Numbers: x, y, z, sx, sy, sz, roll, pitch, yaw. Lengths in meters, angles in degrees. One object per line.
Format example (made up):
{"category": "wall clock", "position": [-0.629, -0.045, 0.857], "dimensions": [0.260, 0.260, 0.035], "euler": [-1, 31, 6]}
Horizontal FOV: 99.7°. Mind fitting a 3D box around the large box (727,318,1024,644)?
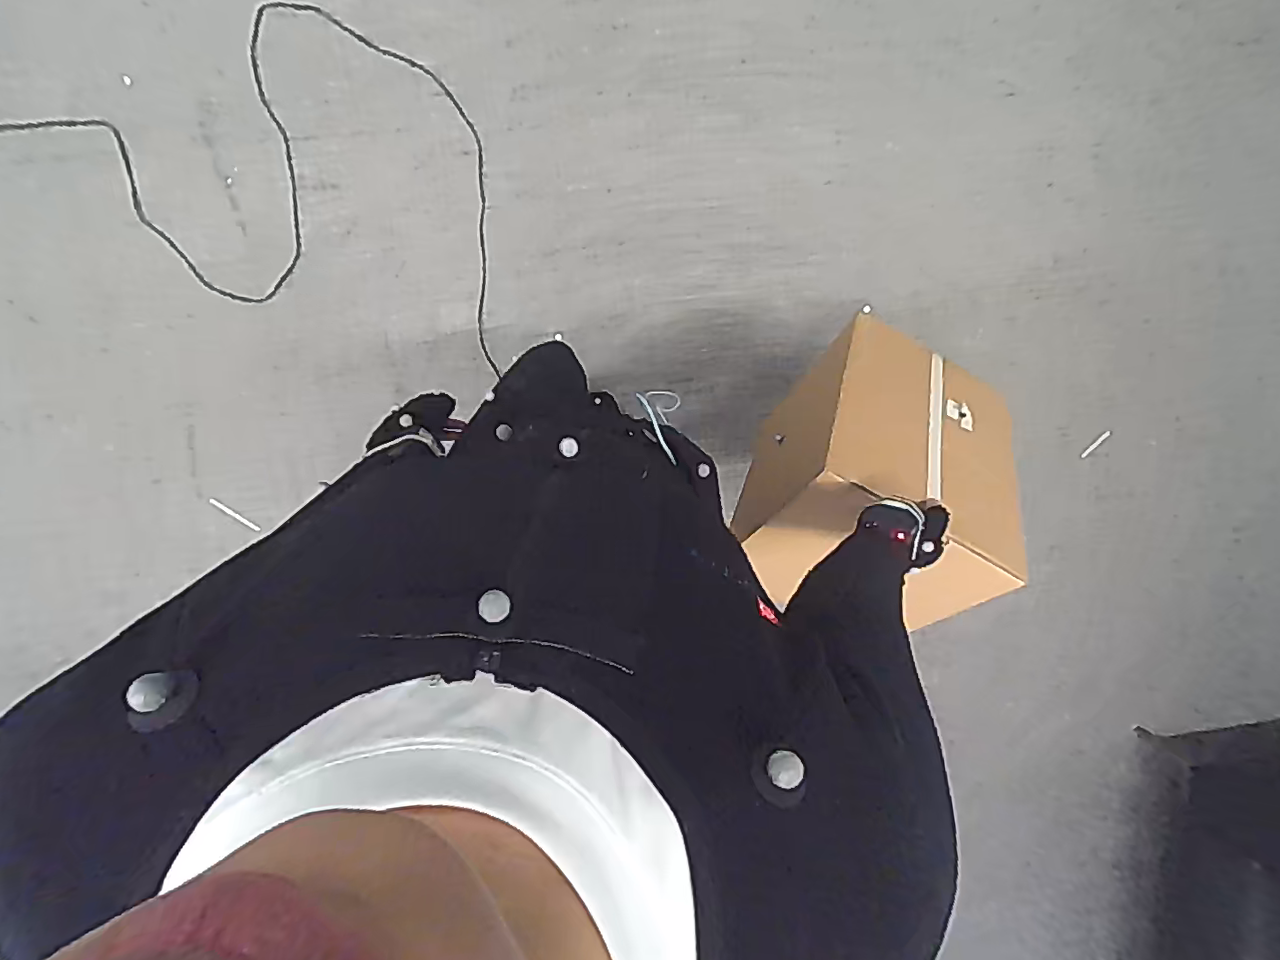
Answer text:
{"category": "large box", "position": [0.391, 0.005, 0.942], "dimensions": [0.320, 0.408, 0.320], "euler": [30, 141, -3]}
